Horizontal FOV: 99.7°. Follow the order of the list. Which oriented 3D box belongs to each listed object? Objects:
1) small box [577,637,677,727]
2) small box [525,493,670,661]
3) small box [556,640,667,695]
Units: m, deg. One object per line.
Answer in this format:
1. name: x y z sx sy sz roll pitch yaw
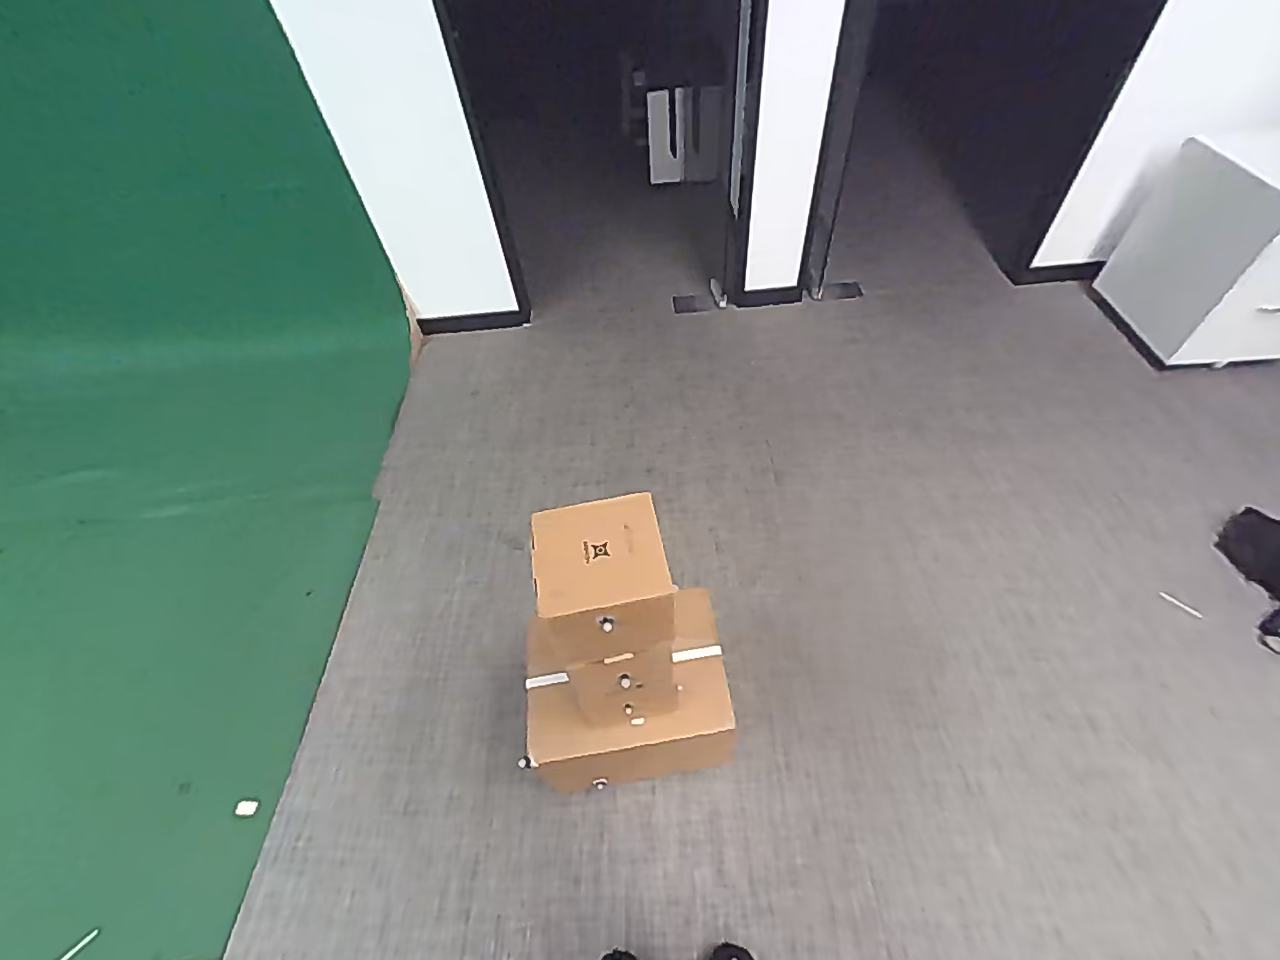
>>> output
1. small box: -0.035 0.350 1.032 0.179 0.176 0.168 -12 52 -6
2. small box: -0.058 0.144 0.780 0.179 0.176 0.168 -10 53 -4
3. small box: -0.051 0.245 0.908 0.168 0.176 0.179 -11 52 -4
